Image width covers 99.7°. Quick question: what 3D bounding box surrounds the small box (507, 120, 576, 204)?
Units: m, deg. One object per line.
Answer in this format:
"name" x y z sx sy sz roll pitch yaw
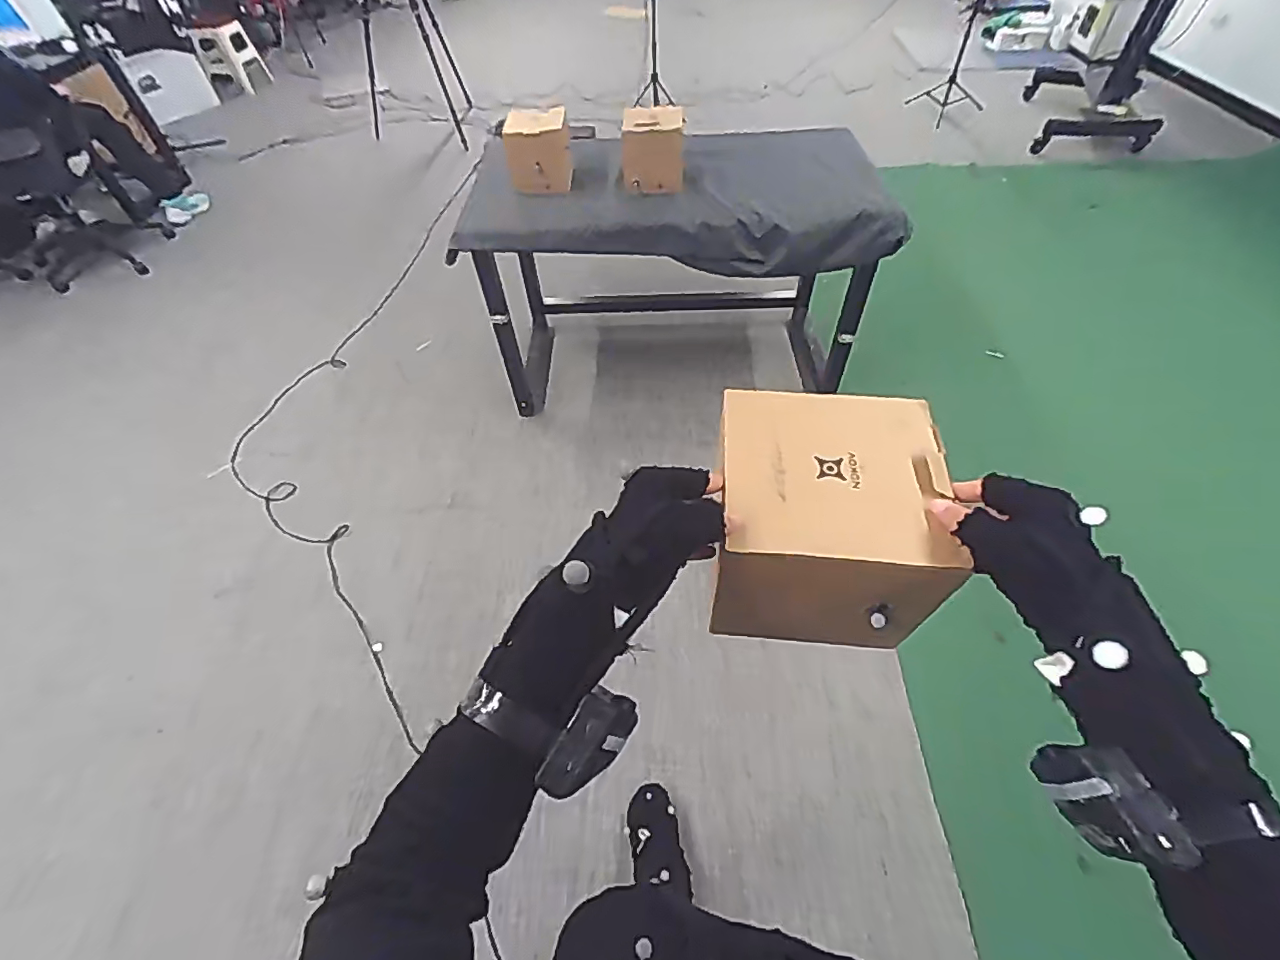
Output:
"small box" -0.285 -0.938 1.604 0.168 0.176 0.179 -2 51 2

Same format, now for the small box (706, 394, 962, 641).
"small box" 0.154 0.039 0.499 0.179 0.176 0.168 1 53 6

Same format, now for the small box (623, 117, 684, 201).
"small box" 0.045 -0.928 1.573 0.168 0.176 0.179 0 50 4
